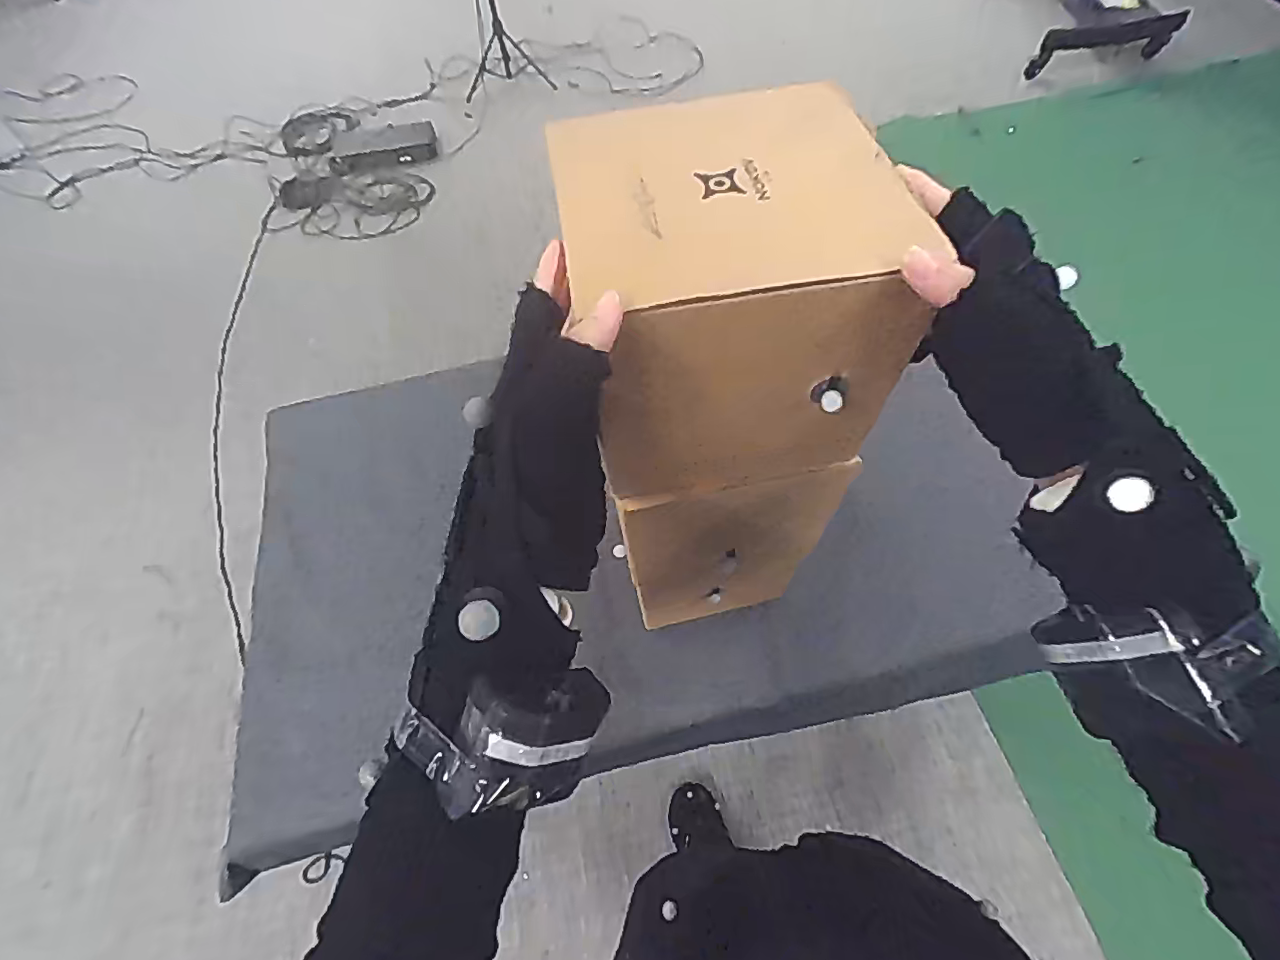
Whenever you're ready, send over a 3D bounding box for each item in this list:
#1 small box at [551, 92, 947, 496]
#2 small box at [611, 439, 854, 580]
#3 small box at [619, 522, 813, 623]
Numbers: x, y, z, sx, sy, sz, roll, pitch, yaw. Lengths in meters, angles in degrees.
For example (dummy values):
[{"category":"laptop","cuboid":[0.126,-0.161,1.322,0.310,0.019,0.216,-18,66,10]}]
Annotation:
[{"category":"small box","cuboid":[0.050,-0.109,0.353,0.179,0.176,0.168,-11,60,-2]},{"category":"small box","cuboid":[0.060,-0.024,0.493,0.179,0.176,0.168,-11,60,-3]},{"category":"small box","cuboid":[0.072,0.051,0.638,0.179,0.176,0.168,-16,61,-6]}]
